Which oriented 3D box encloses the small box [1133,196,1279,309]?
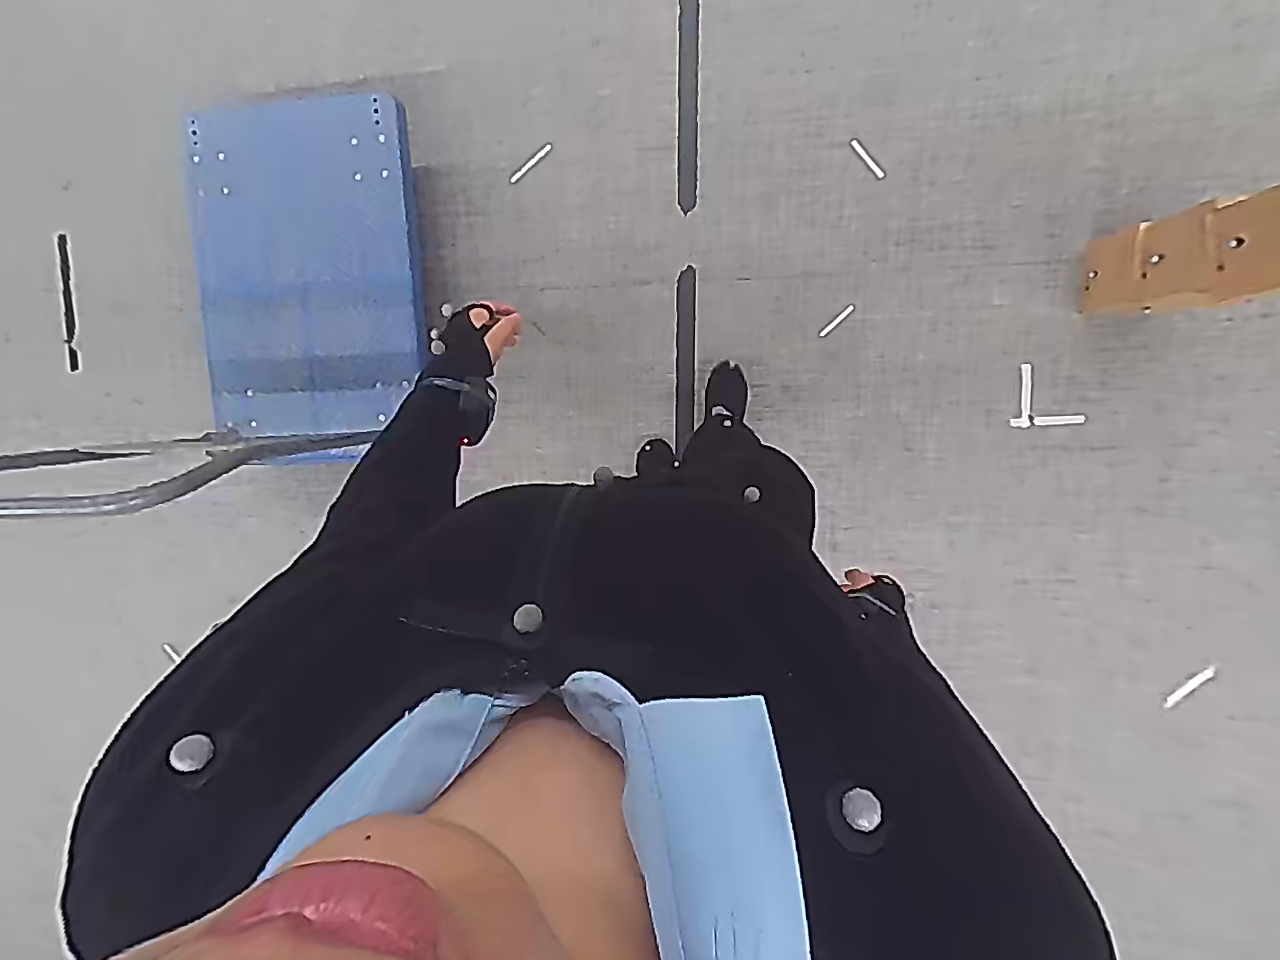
[{"bbox_3d":[1.147,-0.442,1.072,0.179,0.176,0.168,4,96,6],"label":"small box"}]

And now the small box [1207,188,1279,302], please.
[{"bbox_3d":[1.130,-0.411,0.912,0.179,0.176,0.168,-8,95,7],"label":"small box"}]
